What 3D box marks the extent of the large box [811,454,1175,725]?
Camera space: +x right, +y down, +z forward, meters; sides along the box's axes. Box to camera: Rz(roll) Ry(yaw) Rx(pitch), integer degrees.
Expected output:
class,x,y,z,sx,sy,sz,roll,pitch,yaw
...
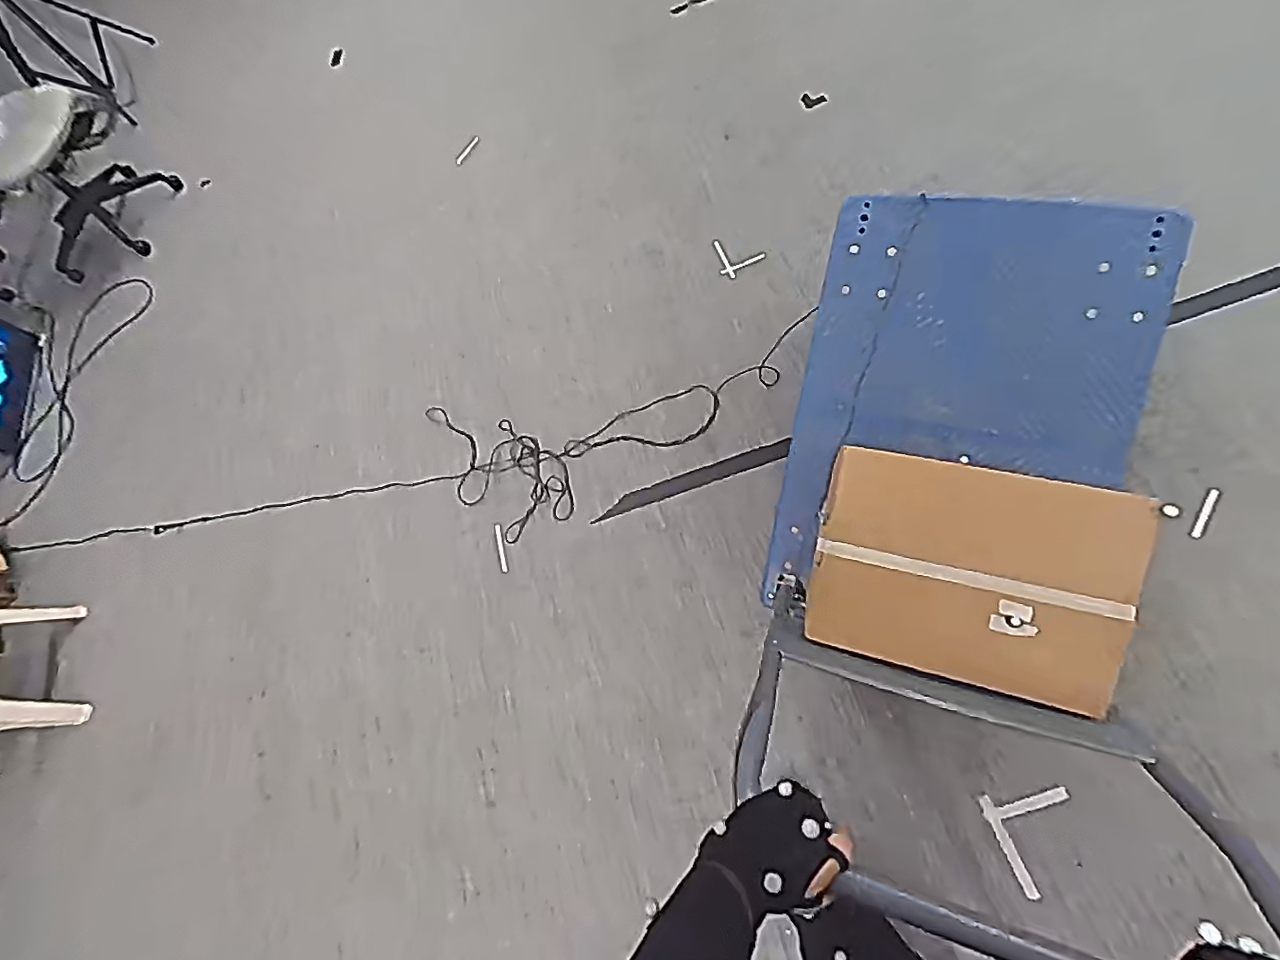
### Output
class,x,y,z,sx,sy,sz,roll,pitch,yaw
large box,0.519,0.138,0.905,0.408,0.320,0.320,12,97,16
